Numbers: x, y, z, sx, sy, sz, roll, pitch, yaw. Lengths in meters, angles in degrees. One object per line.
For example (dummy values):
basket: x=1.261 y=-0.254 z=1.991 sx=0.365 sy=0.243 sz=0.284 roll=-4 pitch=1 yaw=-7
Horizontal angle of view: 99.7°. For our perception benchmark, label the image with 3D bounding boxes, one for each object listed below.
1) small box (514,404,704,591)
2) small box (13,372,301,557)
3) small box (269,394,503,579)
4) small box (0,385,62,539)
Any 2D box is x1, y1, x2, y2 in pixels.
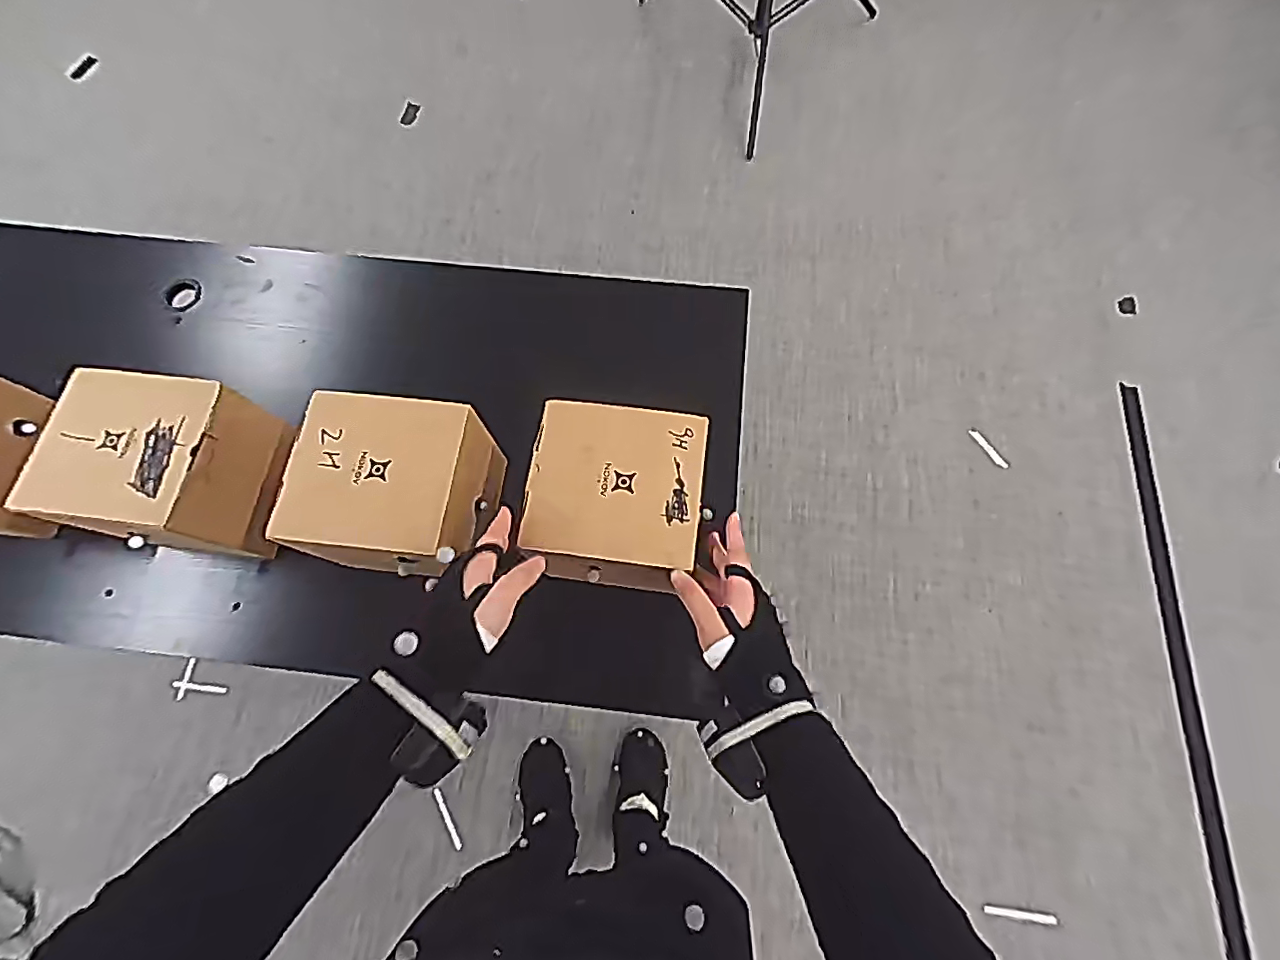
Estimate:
small box: x=-0.025 y=0.029 z=0.626 sx=0.179 sy=0.176 sz=0.168 roll=6 pitch=71 yaw=5
small box: x=-0.542 y=-0.009 z=0.646 sx=0.179 sy=0.176 sz=0.168 roll=6 pitch=71 yaw=4
small box: x=-0.273 y=0.017 z=0.632 sx=0.179 sy=0.176 sz=0.168 roll=5 pitch=71 yaw=2
small box: x=-0.836 y=-0.028 z=0.658 sx=0.179 sy=0.176 sz=0.168 roll=3 pitch=70 yaw=2
